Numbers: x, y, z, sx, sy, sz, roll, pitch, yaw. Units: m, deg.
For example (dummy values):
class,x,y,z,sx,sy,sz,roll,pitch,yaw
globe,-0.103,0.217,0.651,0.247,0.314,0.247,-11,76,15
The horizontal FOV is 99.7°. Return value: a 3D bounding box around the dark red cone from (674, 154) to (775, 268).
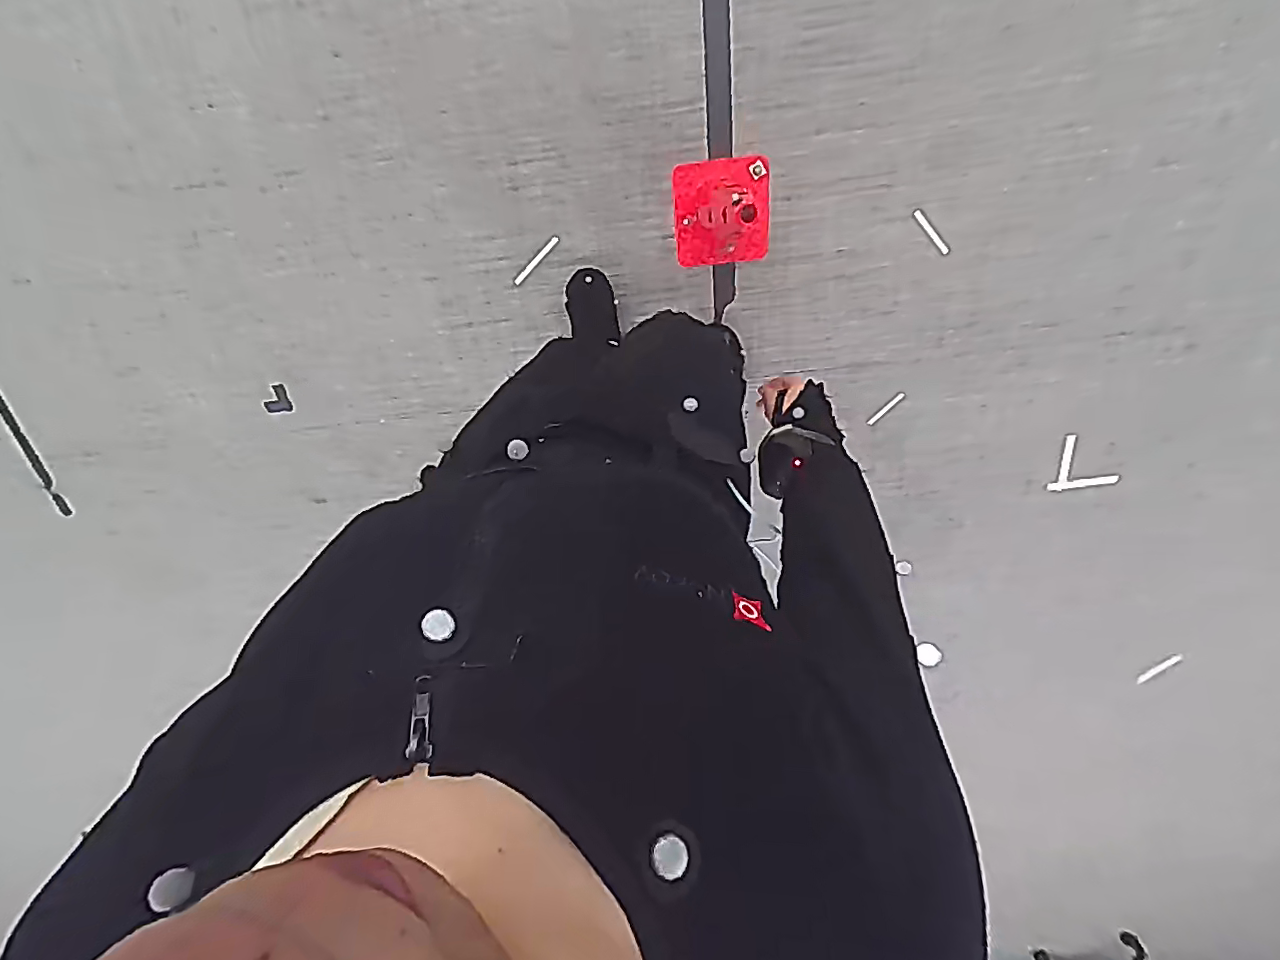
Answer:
class,x,y,z,sx,sy,sz,roll,pitch,yaw
dark red cone,0.171,-0.478,0.972,0.201,0.394,0.202,-5,117,5
